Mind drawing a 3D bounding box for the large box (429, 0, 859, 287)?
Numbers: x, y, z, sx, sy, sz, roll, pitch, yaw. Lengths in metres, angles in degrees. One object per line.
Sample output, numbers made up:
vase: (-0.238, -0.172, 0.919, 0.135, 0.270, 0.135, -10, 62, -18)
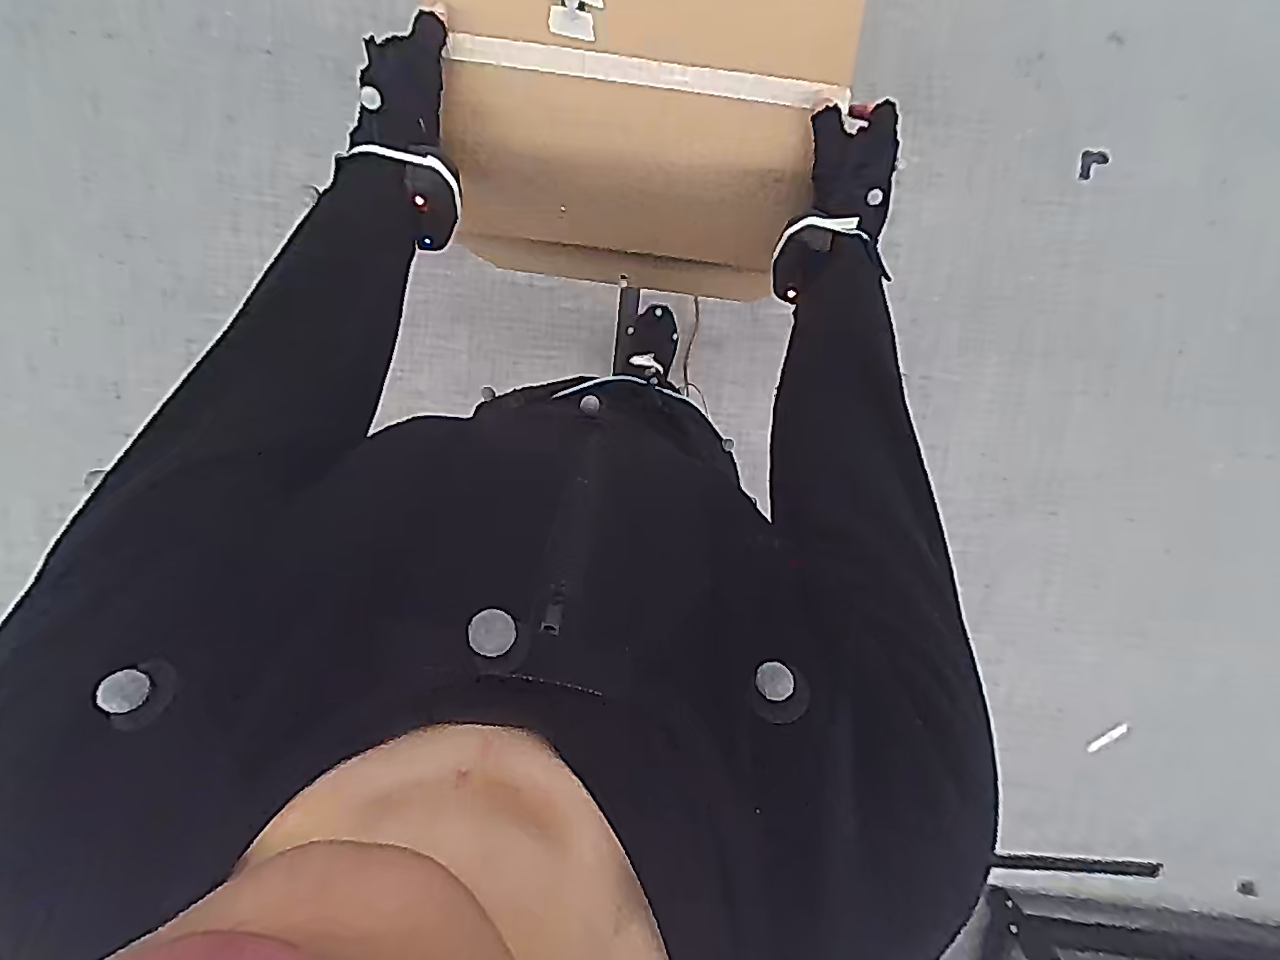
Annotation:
large box: (0.001, -0.429, 0.661, 0.408, 0.320, 0.320, 7, 103, -2)
